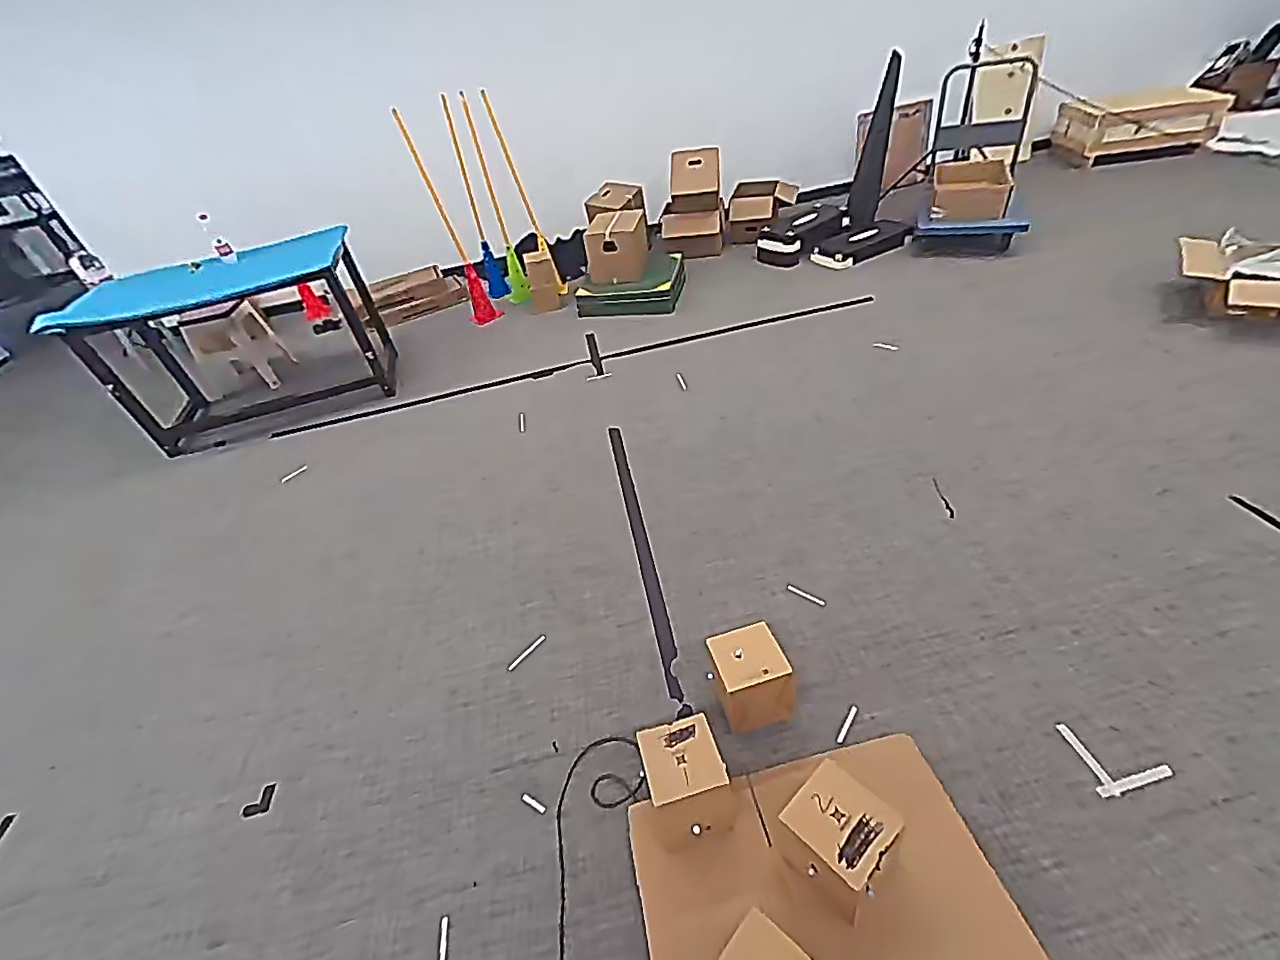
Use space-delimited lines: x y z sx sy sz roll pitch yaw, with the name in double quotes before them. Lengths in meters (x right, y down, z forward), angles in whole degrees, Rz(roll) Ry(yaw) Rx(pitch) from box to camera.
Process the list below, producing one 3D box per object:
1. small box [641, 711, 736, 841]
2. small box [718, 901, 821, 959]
"small box" 0.108 0.667 1.222 0.168 0.176 0.179 -14 32 -6
"small box" 0.217 0.876 0.909 0.168 0.176 0.179 25 48 39
